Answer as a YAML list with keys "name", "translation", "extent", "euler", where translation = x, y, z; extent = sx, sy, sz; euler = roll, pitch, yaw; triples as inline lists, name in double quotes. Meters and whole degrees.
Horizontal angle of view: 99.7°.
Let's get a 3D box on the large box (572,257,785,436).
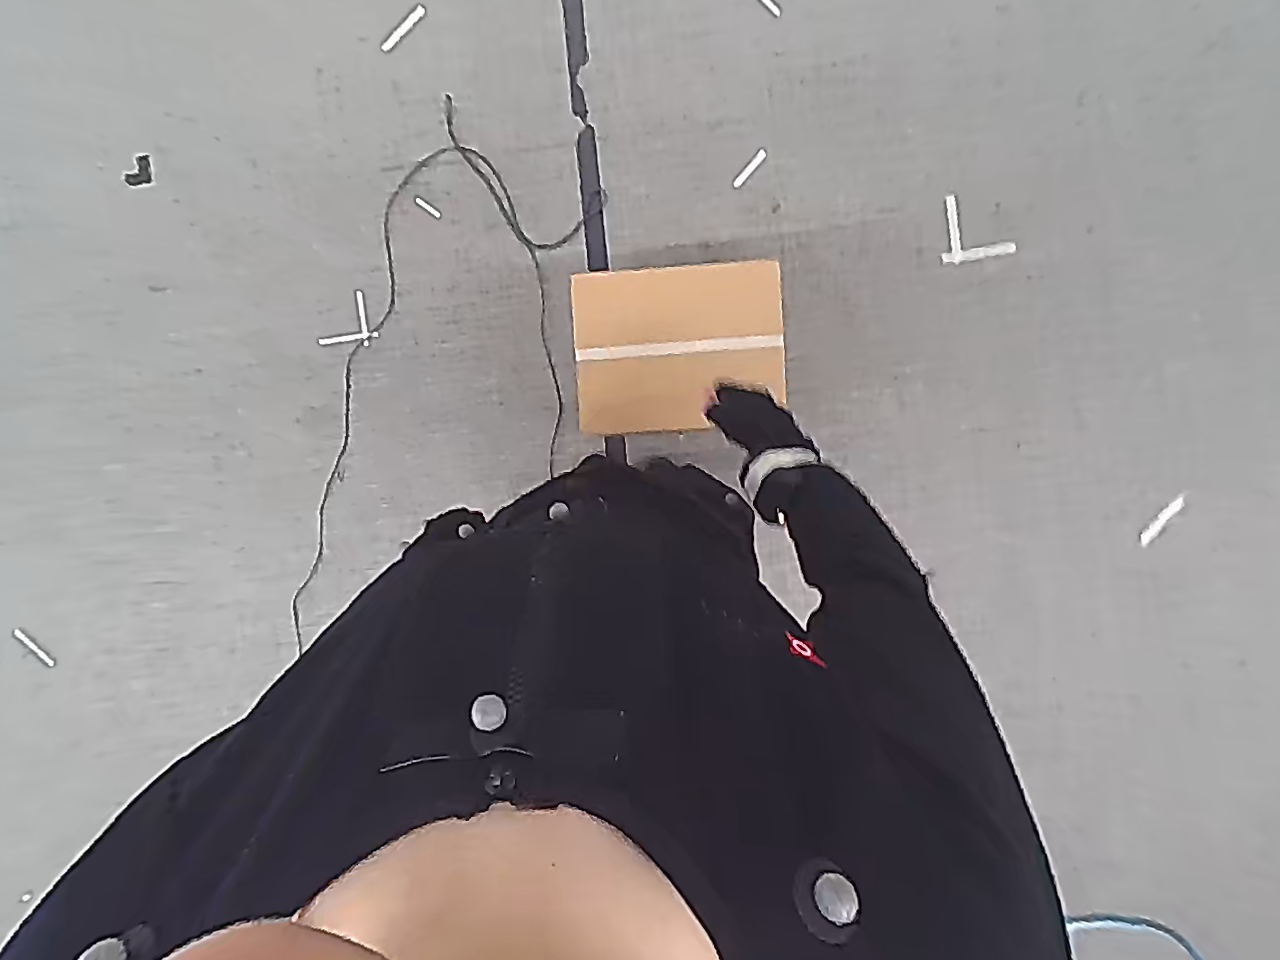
- name: "large box"
  translation: [0.078, -0.270, 1.201]
  extent: [0.408, 0.320, 0.320]
  euler: [-3, 94, 2]
